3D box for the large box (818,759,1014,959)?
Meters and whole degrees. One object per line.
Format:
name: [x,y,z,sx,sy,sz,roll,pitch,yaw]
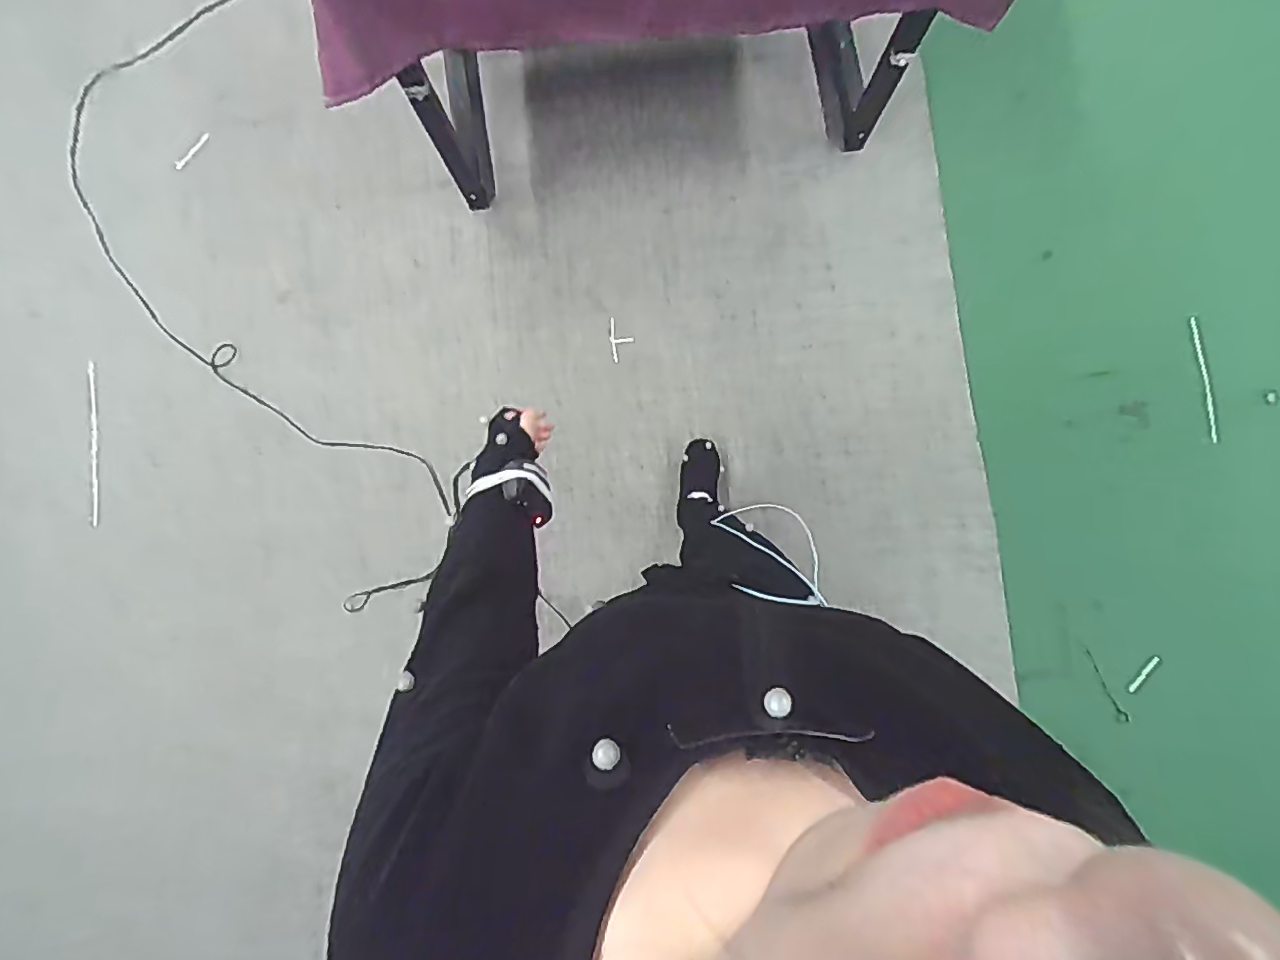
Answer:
large box: [0.648,0.951,1.286,0.320,0.320,0.408,-7,86,0]
